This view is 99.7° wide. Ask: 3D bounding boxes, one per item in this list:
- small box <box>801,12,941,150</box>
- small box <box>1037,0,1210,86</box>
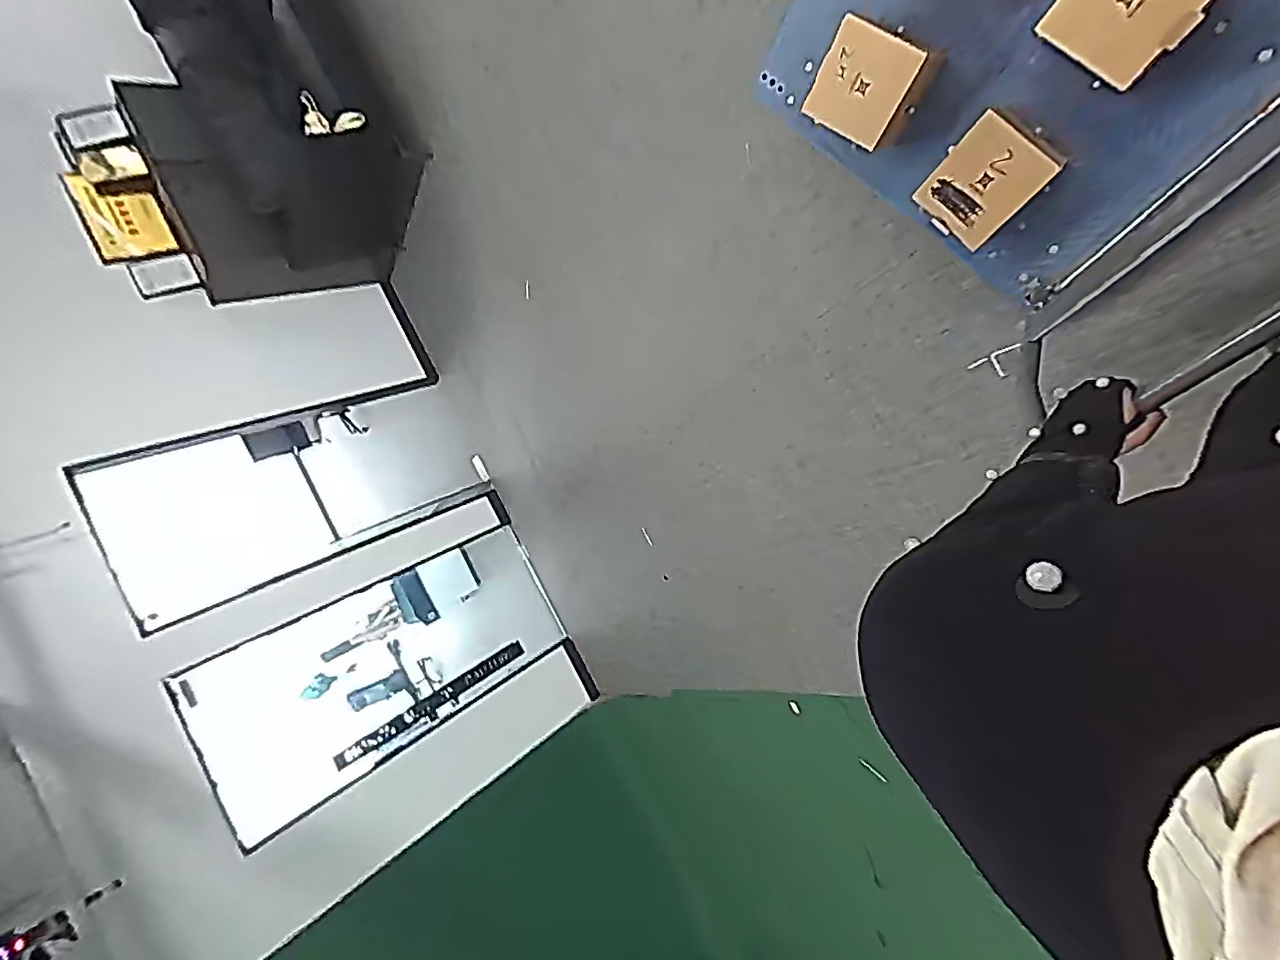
[{"bbox_3d":[0.462,-0.793,1.077,0.179,0.176,0.168,39,137,12],"label":"small box"},{"bbox_3d":[0.767,-0.750,0.843,0.179,0.176,0.168,42,139,7],"label":"small box"}]
